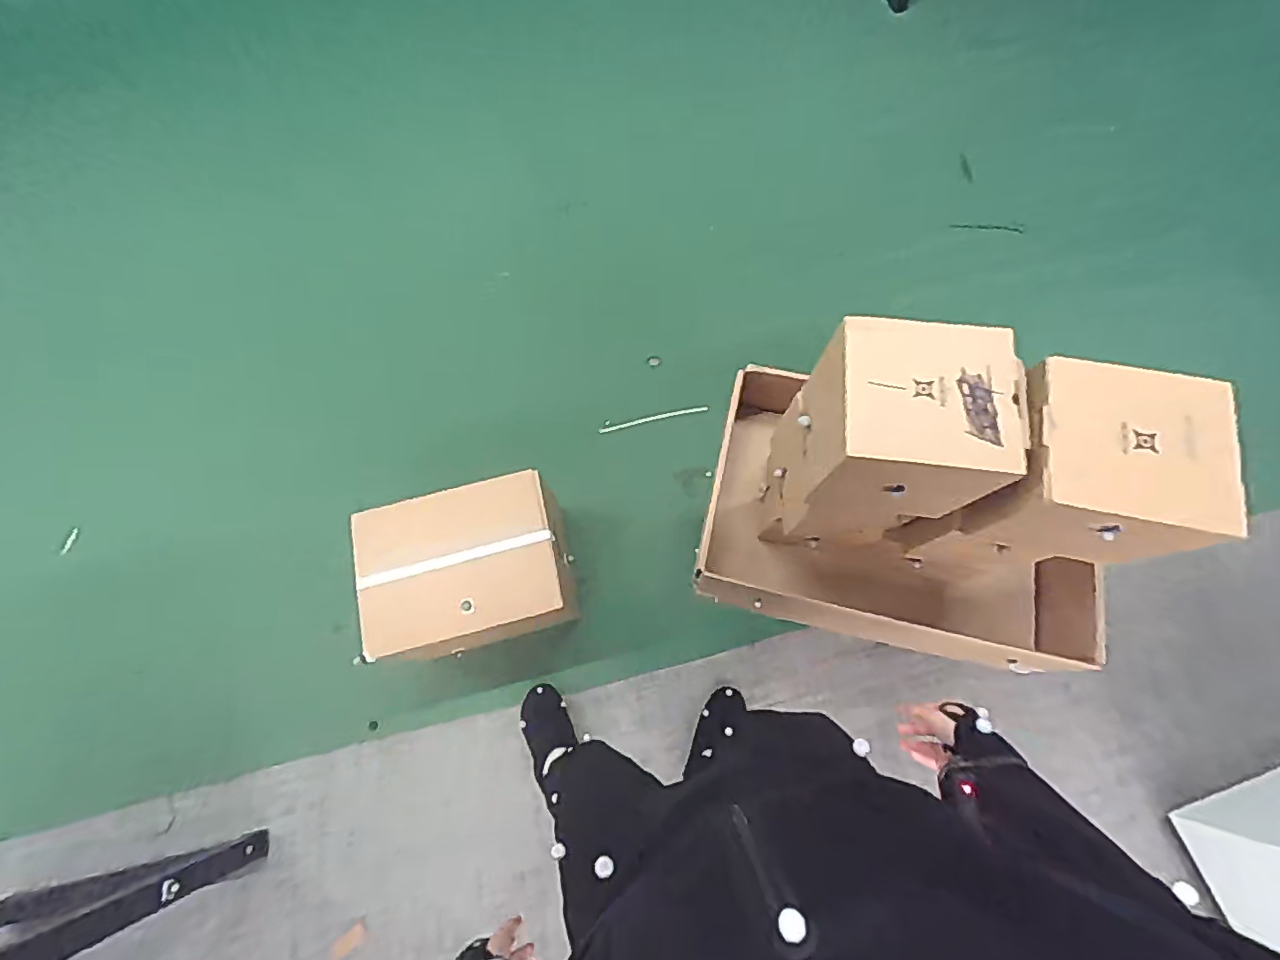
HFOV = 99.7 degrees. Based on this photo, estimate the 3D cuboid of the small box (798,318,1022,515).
[{"bbox_3d":[0.295,-0.063,0.626,0.179,0.176,0.168,6,71,4],"label":"small box"}]
